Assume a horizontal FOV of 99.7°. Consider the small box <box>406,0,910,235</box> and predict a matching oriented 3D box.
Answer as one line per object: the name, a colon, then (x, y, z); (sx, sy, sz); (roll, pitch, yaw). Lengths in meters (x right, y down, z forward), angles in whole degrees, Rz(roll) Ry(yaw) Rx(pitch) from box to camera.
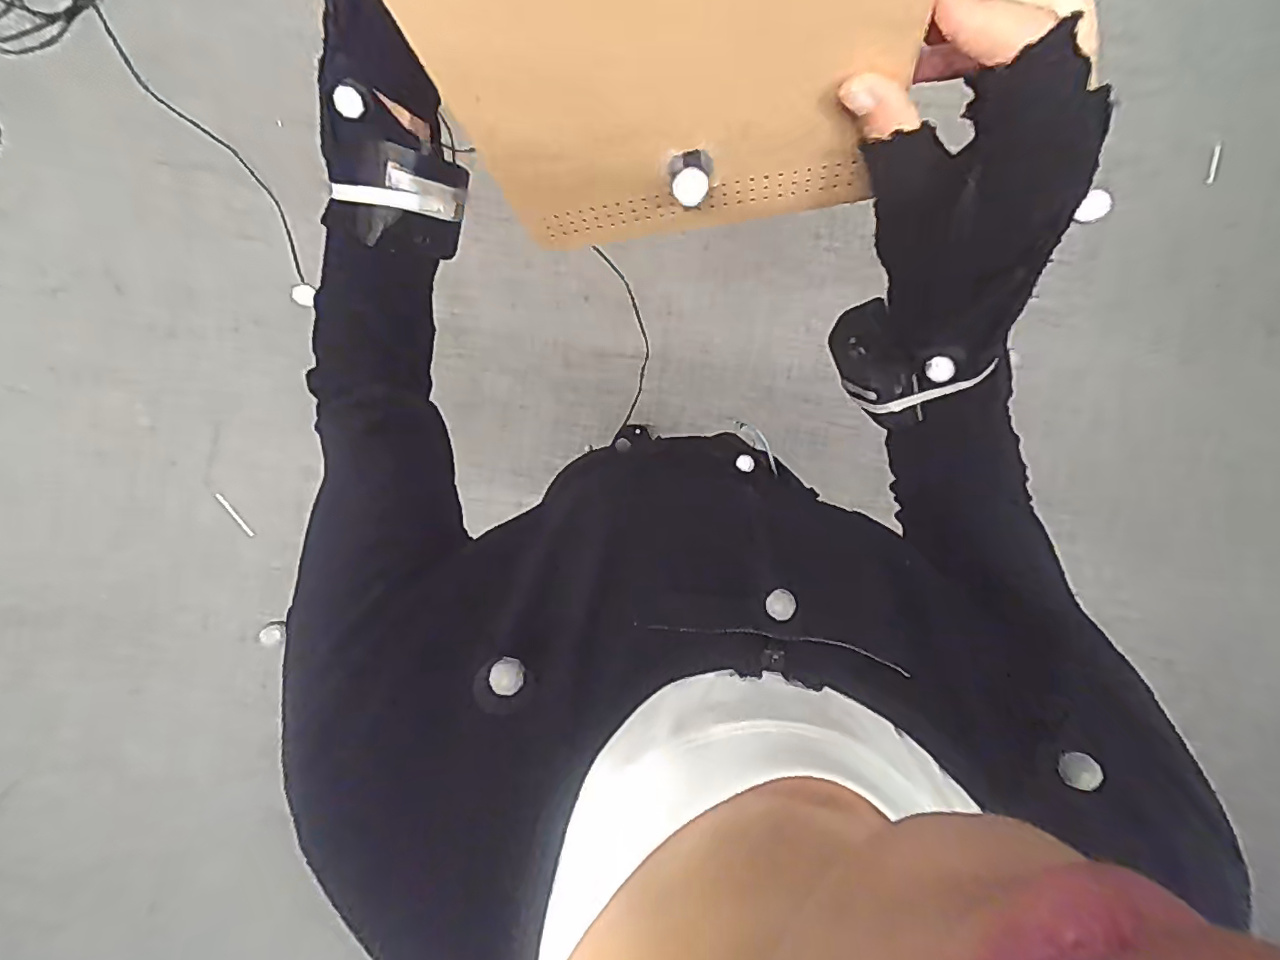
small box: (0.012, -0.236, 0.228); (0.179, 0.176, 0.168); (-5, 76, 11)
